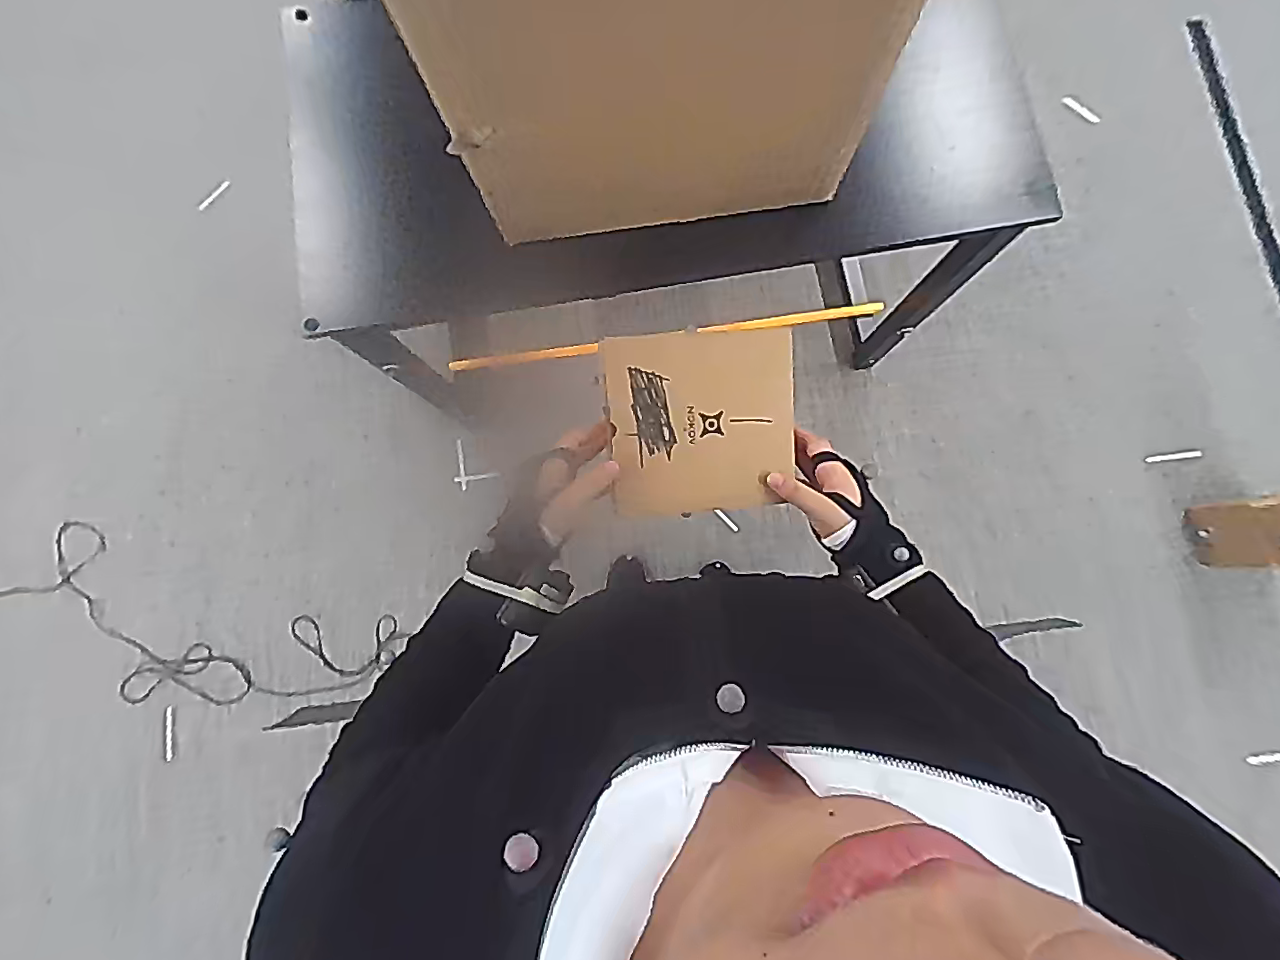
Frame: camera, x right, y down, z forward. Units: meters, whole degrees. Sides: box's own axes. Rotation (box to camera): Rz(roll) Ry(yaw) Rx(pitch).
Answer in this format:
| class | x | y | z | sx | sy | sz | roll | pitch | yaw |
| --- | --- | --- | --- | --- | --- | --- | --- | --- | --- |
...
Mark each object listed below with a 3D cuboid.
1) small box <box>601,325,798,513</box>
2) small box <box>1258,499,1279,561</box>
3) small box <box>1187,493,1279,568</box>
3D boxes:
| class | x | y | z | sx | sy | sz | roll | pitch | yaw |
| --- | --- | --- | --- | --- | --- | --- | --- | --- | --- |
| small box | 0.051 | -0.065 | 0.570 | 0.179 | 0.176 | 0.168 | -5 | 99 | -5 |
| small box | 1.596 | 0.103 | 1.222 | 0.179 | 0.176 | 0.168 | -16 | 80 | 0 |
| small box | 1.588 | 0.126 | 1.386 | 0.179 | 0.176 | 0.168 | -12 | 81 | 1 |
